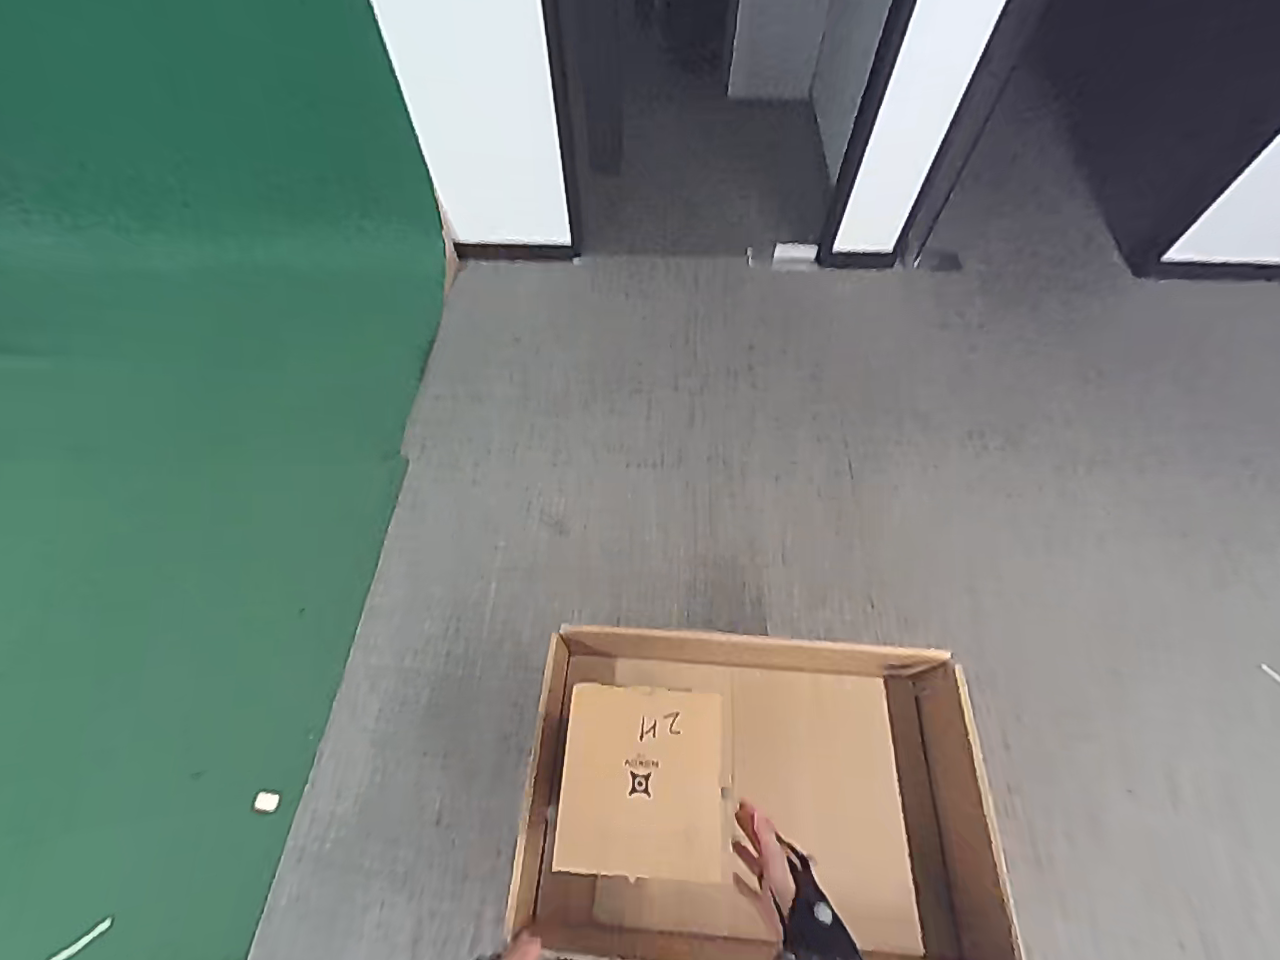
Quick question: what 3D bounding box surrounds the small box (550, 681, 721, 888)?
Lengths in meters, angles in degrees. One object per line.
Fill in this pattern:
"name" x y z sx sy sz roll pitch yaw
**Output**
"small box" 0.004 0.343 0.621 0.168 0.176 0.179 3 59 3
